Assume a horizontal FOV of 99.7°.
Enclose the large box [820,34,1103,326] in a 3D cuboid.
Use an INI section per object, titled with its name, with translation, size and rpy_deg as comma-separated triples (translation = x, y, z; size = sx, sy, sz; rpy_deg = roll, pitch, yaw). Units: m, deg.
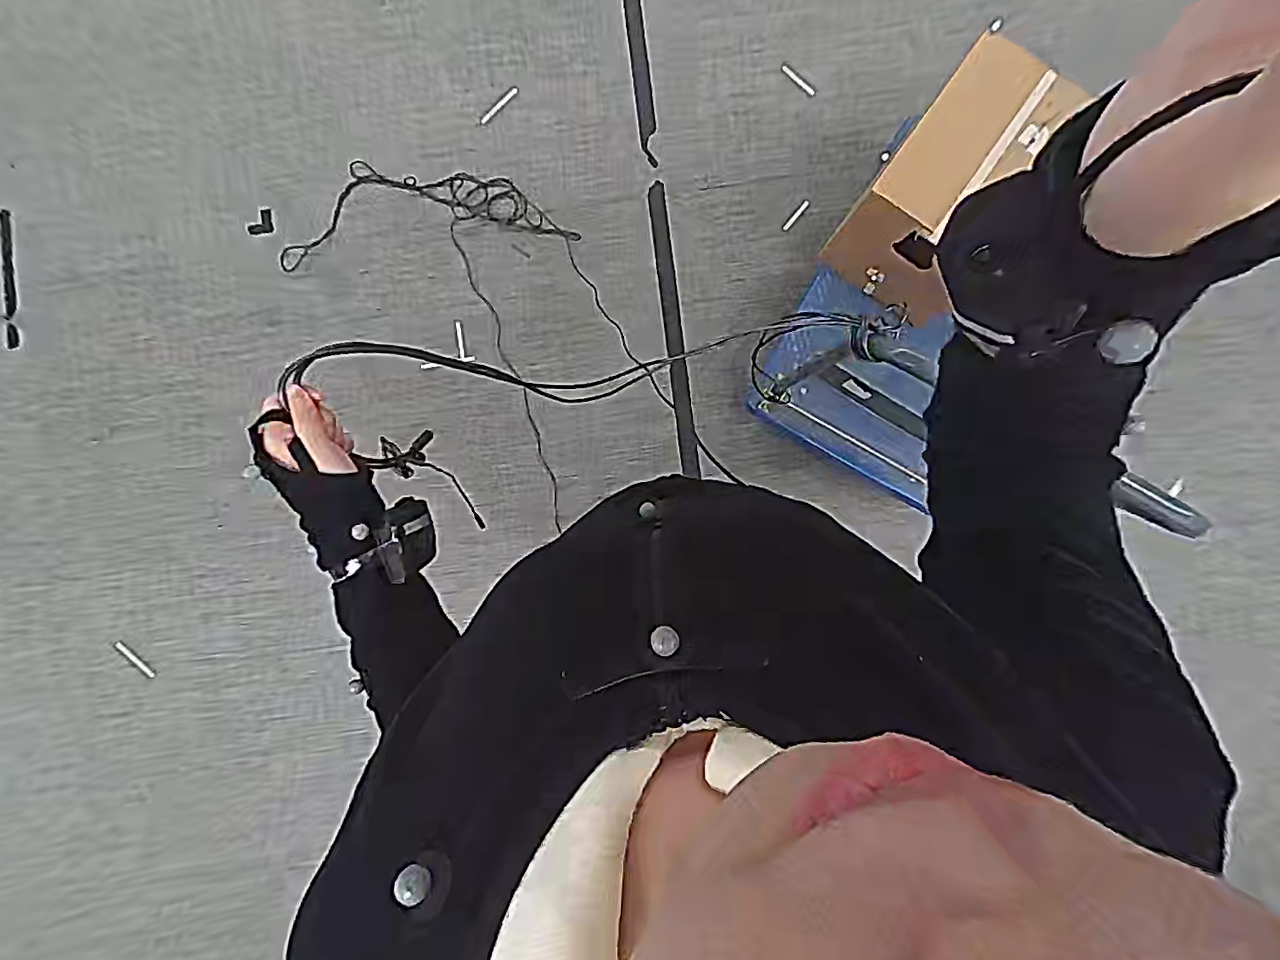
[large box]
translation = 0.677, -0.629, 1.206
size = 0.320, 0.320, 0.408
rpy_deg = 35, 88, -1
